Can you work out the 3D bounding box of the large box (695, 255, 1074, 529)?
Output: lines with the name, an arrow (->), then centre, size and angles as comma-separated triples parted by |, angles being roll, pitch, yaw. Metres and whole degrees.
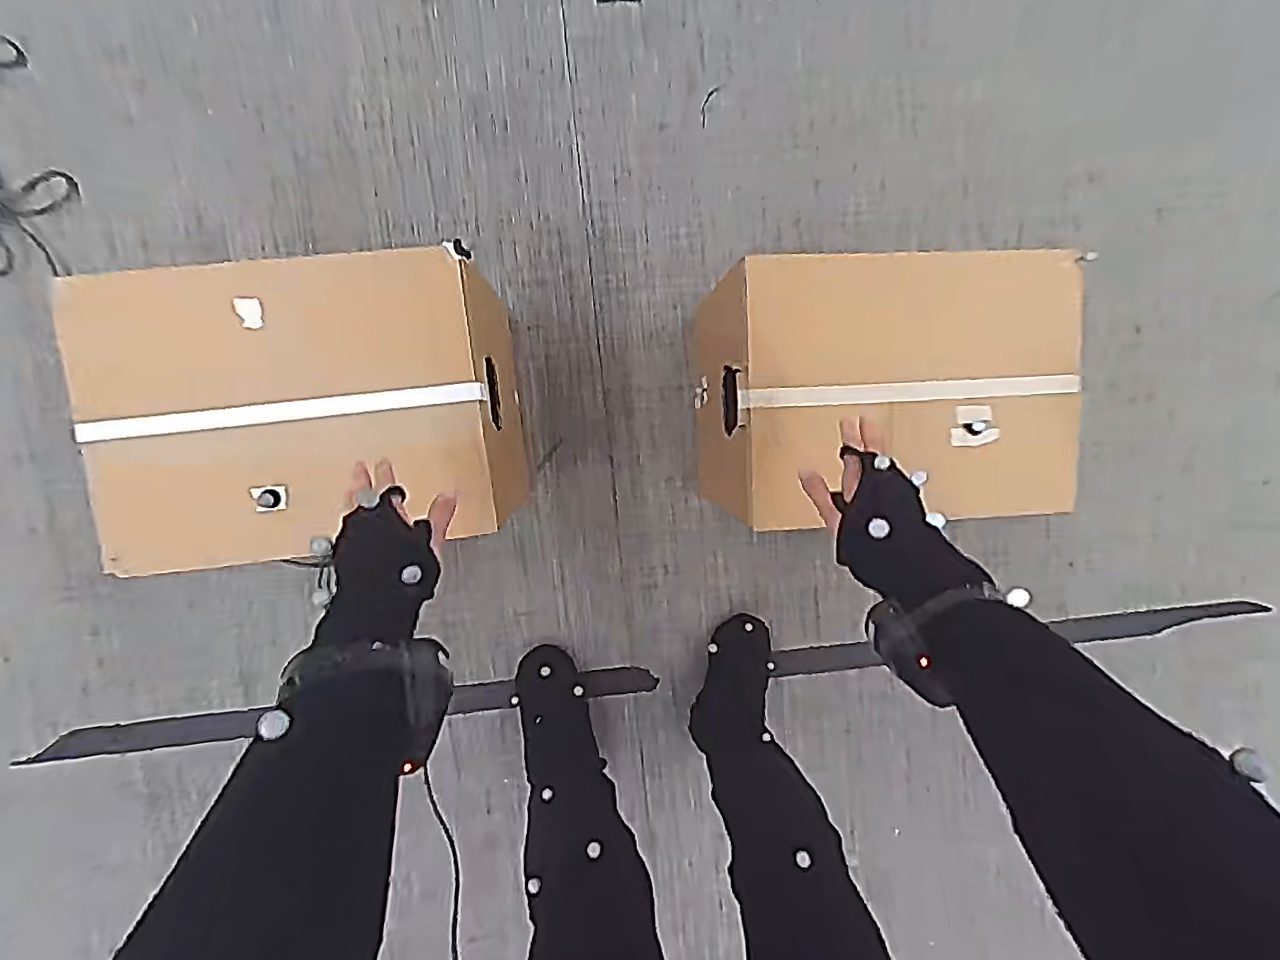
large box -> 0.310, -0.117, 0.788 | 0.408, 0.320, 0.320 | -3, 96, -5
